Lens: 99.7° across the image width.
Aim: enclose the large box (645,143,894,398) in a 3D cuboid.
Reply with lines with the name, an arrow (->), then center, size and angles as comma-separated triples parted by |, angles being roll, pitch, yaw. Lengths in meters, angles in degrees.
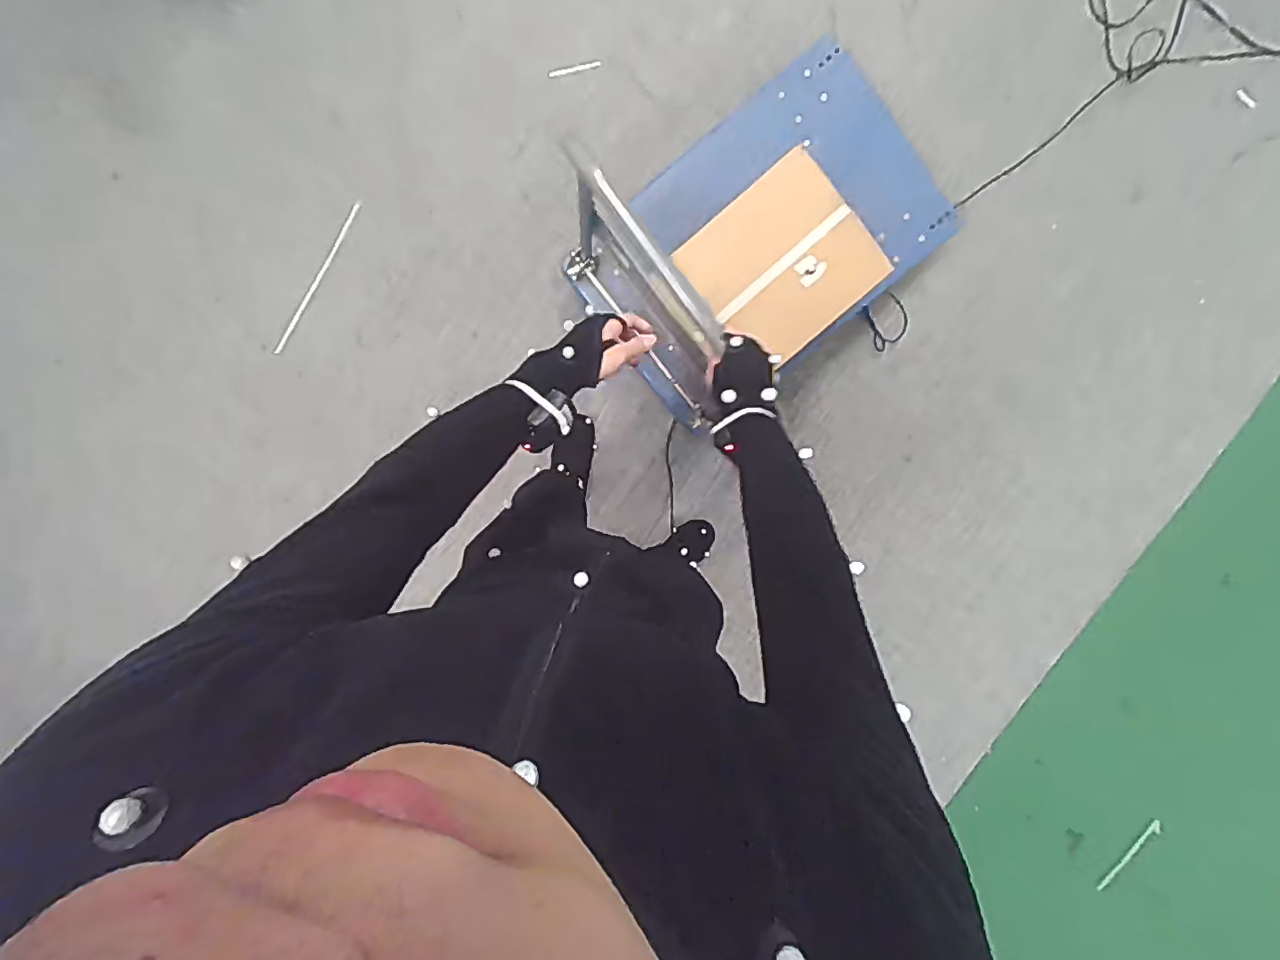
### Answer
large box -> 0.262, -0.434, 1.228 | 0.408, 0.320, 0.320 | -40, 98, 2
